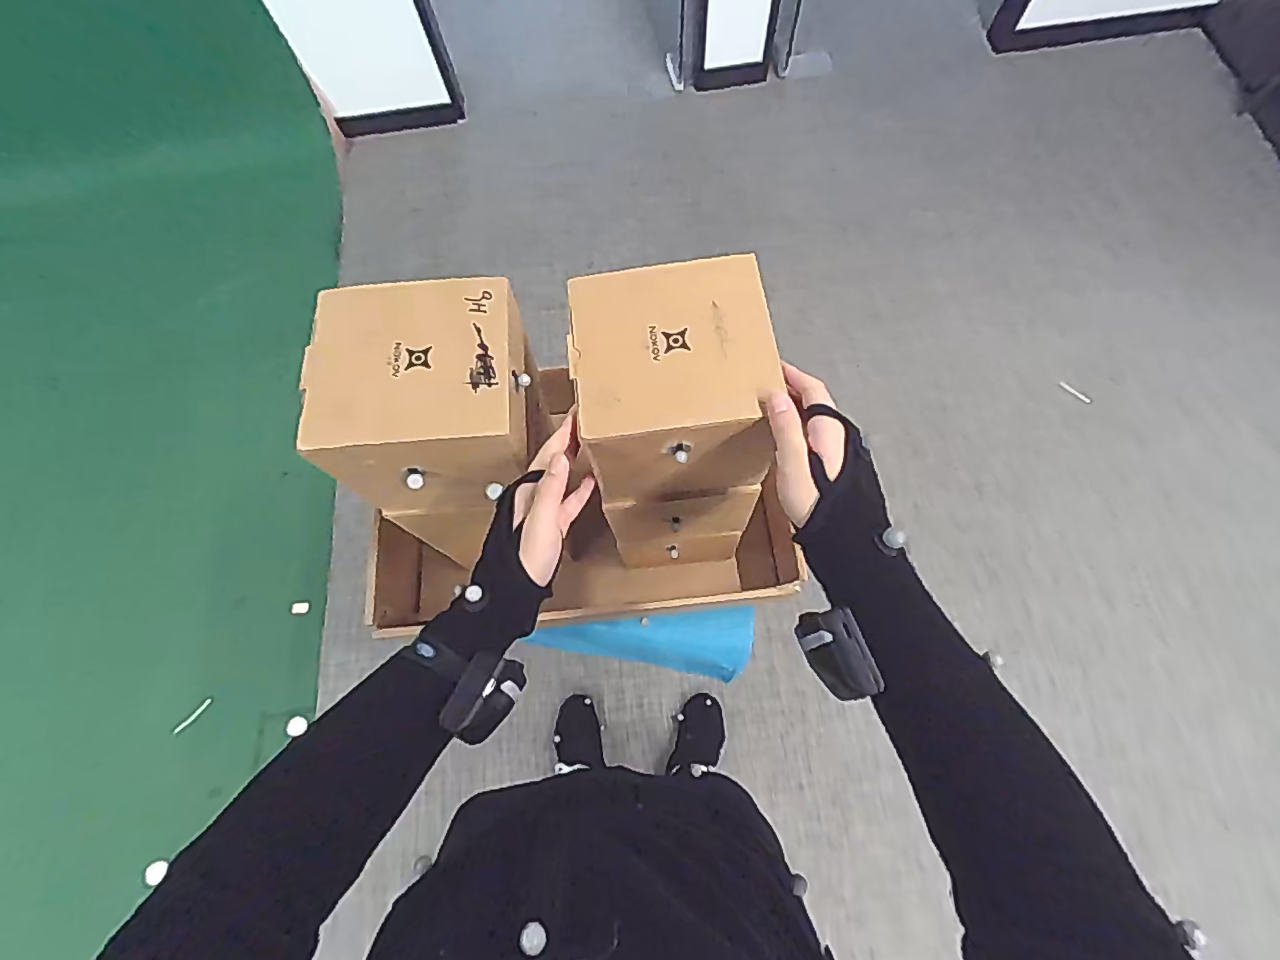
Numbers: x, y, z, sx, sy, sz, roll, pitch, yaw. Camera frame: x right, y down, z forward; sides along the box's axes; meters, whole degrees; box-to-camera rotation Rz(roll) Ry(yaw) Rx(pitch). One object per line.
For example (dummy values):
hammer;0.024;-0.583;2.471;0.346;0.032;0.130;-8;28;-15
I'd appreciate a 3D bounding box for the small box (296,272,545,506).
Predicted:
small box;-0.199;-0.079;0.544;0.179;0.176;0.168;-5;69;0

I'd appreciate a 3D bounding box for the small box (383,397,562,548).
small box;-0.202;-0.016;0.696;0.179;0.176;0.168;-5;69;-2

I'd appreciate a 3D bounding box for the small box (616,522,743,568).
small box;0.056;0.035;0.834;0.179;0.176;0.168;-6;69;3

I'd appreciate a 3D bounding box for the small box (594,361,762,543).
small box;0.044;-0.026;0.682;0.179;0.176;0.168;-7;68;3
